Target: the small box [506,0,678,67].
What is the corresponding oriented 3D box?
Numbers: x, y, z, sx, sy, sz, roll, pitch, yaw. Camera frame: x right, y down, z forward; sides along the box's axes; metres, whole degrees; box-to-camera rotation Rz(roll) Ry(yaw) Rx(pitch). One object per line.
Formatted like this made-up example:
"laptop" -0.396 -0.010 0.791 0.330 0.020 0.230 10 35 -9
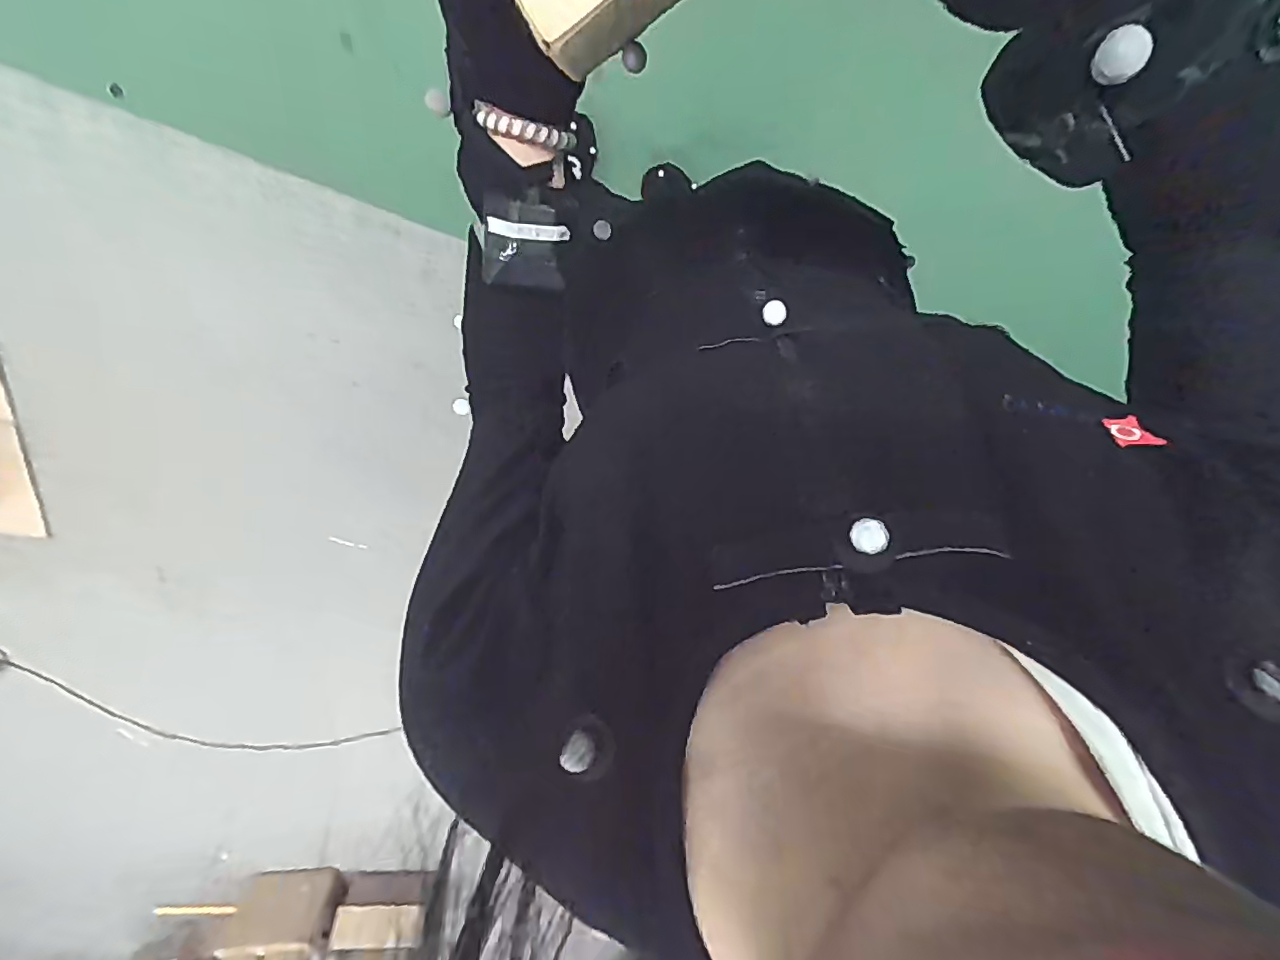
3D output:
"small box" -0.010 -0.275 0.176 0.168 0.176 0.179 -29 120 16
